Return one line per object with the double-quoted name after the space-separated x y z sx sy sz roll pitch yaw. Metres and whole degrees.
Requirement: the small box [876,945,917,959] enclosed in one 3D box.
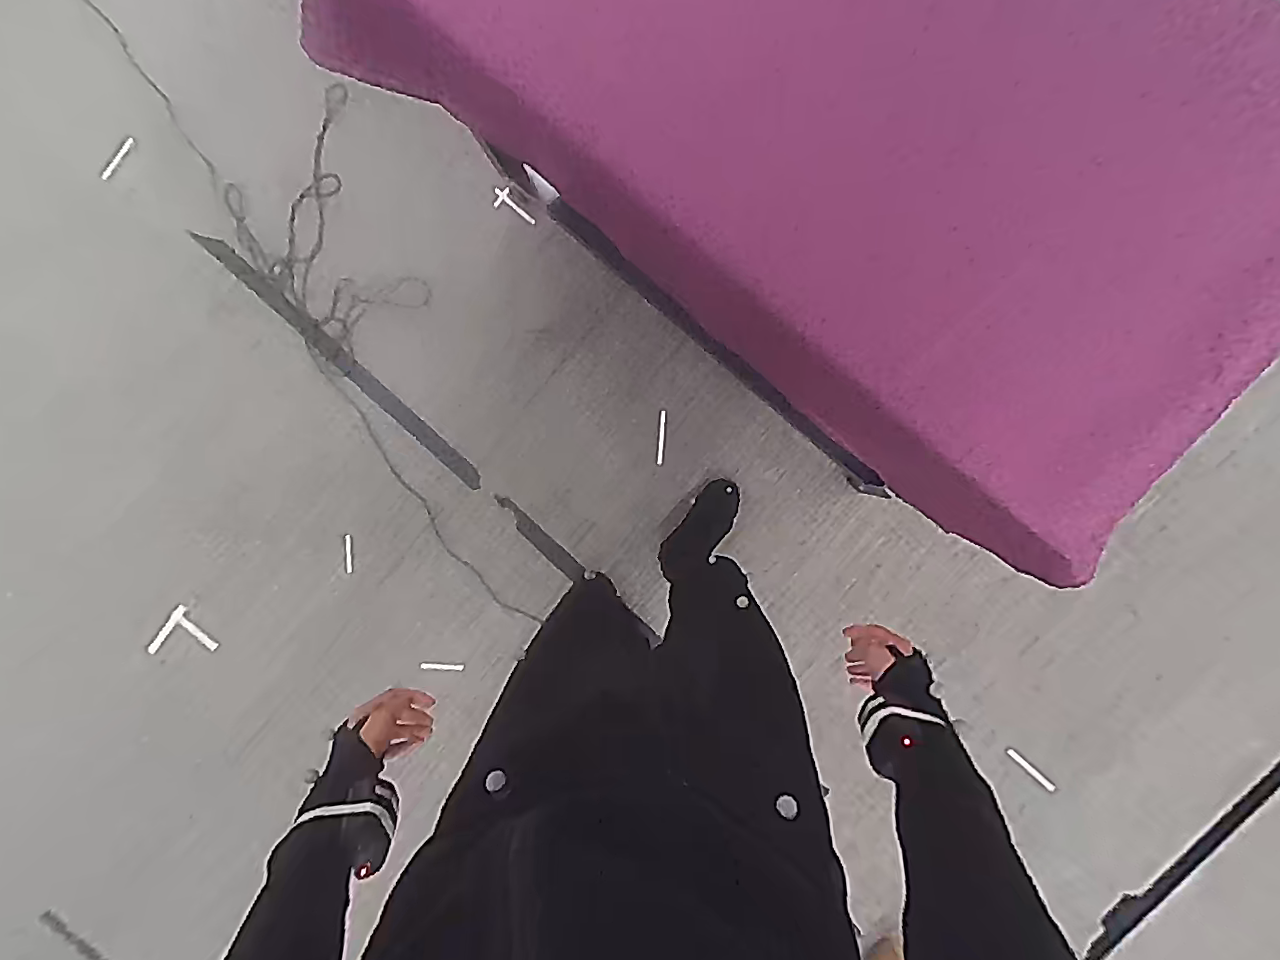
0.679 1.332 1.347 0.179 0.176 0.168 38 95 2 "small box"
